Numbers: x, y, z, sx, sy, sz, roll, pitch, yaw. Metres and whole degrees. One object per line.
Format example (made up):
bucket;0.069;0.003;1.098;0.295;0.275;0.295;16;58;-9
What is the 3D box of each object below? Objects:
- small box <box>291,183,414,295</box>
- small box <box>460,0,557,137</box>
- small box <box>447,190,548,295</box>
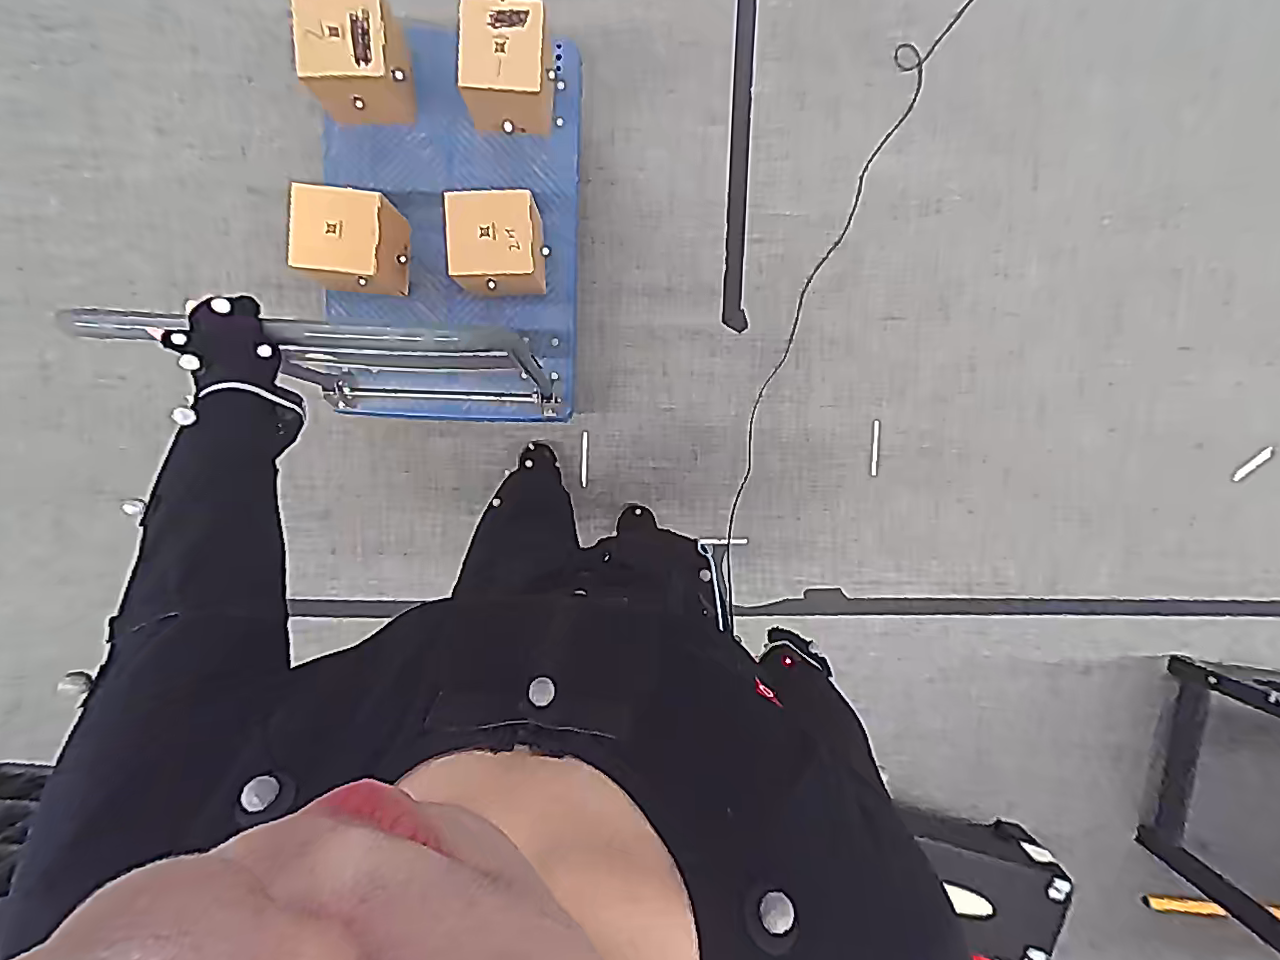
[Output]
small box;-0.610;-0.508;1.163;0.179;0.176;0.168;5;93;-3
small box;-0.270;-0.867;1.144;0.168;0.176;0.179;4;95;-2
small box;-0.301;-0.504;1.169;0.179;0.176;0.168;-2;94;-1
